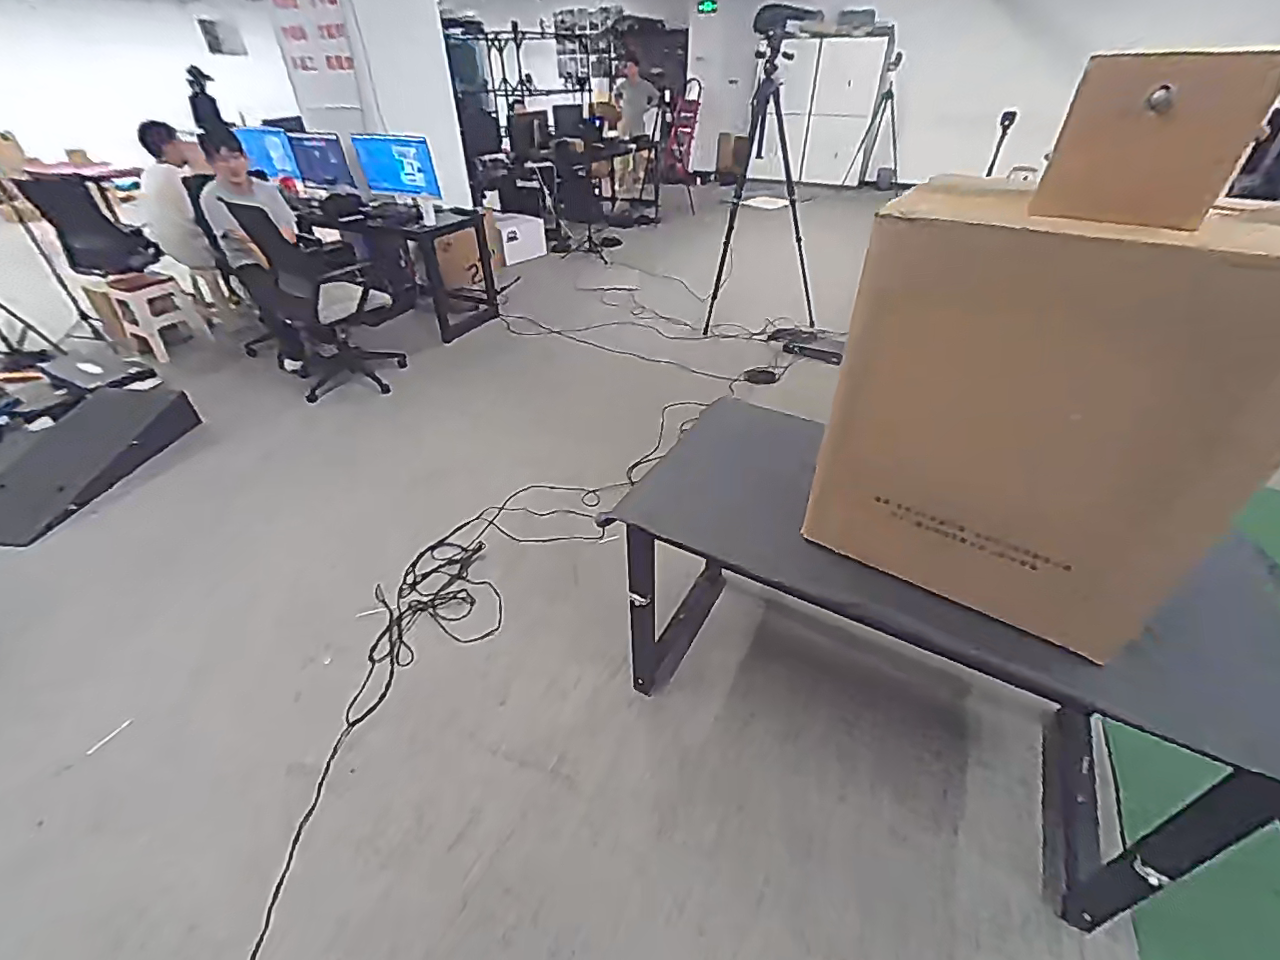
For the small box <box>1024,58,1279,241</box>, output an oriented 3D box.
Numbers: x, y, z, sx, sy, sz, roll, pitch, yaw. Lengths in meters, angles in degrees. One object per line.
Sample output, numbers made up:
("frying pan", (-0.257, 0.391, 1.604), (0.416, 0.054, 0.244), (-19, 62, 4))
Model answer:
("small box", (0.616, -0.405, 0.663), (0.179, 0.176, 0.168), (24, 46, 29))
